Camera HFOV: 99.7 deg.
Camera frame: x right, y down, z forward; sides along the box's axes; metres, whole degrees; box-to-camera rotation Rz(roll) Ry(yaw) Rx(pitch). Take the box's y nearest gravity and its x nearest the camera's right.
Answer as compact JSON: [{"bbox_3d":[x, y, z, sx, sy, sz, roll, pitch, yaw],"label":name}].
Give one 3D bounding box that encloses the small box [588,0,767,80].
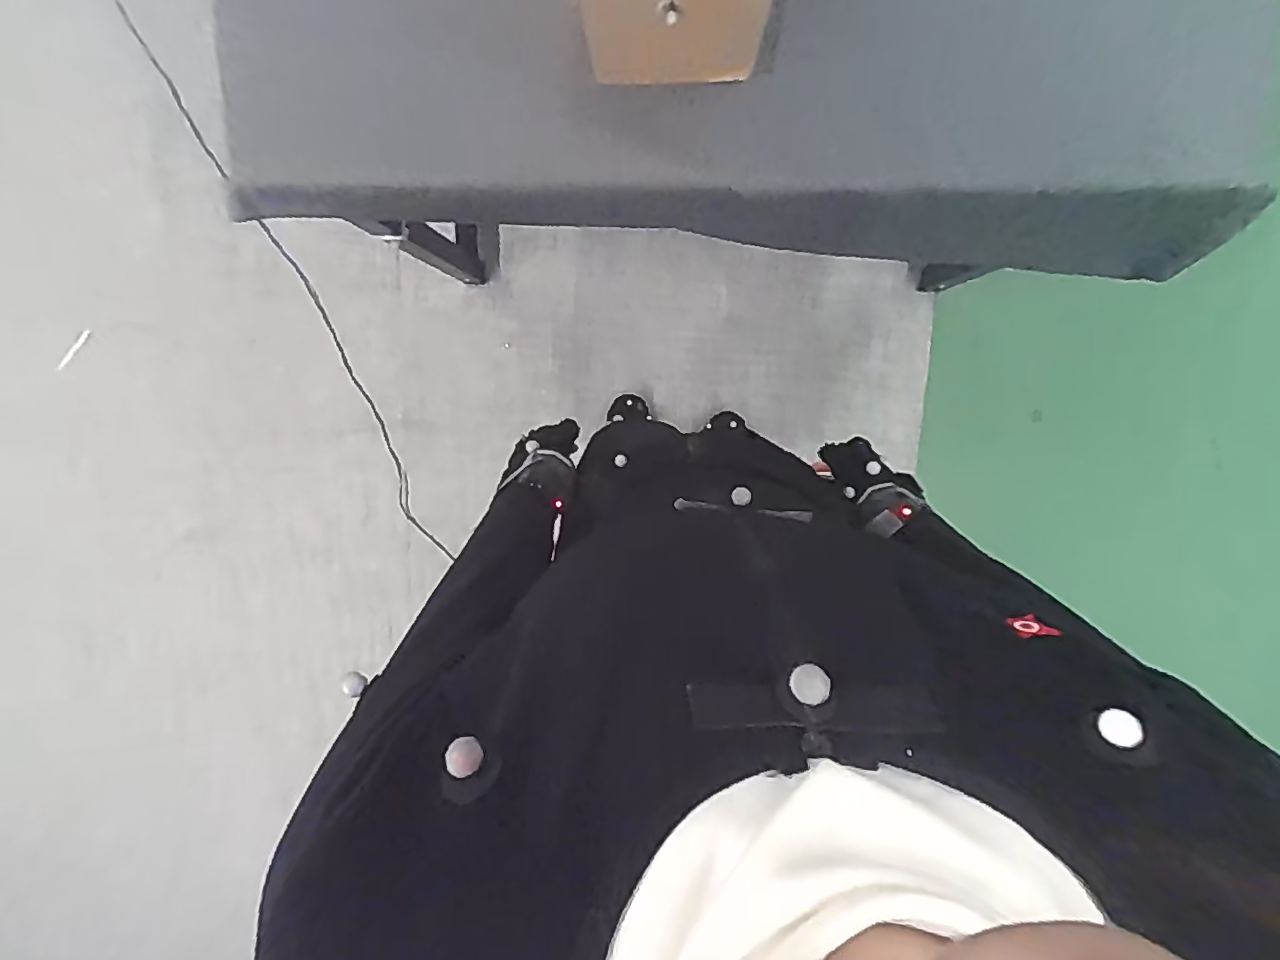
[{"bbox_3d":[0.036,-0.520,0.522,0.179,0.176,0.168,0,101,1],"label":"small box"}]
